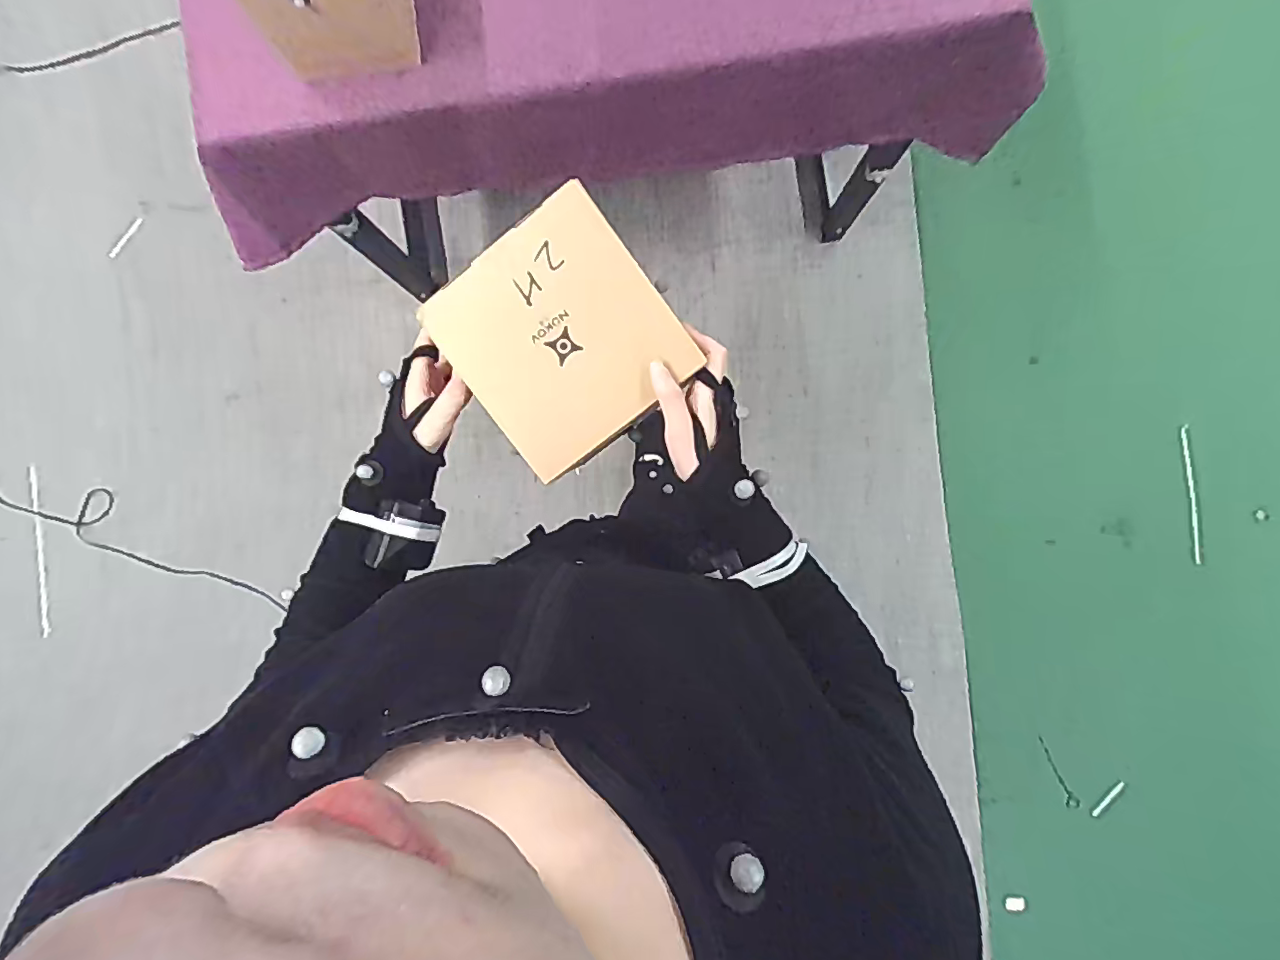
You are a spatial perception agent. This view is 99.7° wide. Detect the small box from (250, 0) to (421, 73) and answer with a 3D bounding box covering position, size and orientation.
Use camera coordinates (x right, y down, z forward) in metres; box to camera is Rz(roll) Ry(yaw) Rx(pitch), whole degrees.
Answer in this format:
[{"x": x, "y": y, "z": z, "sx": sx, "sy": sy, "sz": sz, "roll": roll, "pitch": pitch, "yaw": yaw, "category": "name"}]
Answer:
[{"x": -0.409, "y": -0.670, "z": 0.699, "sx": 0.179, "sy": 0.176, "sz": 0.168, "roll": -7, "pitch": 89, "yaw": 0, "category": "small box"}]
